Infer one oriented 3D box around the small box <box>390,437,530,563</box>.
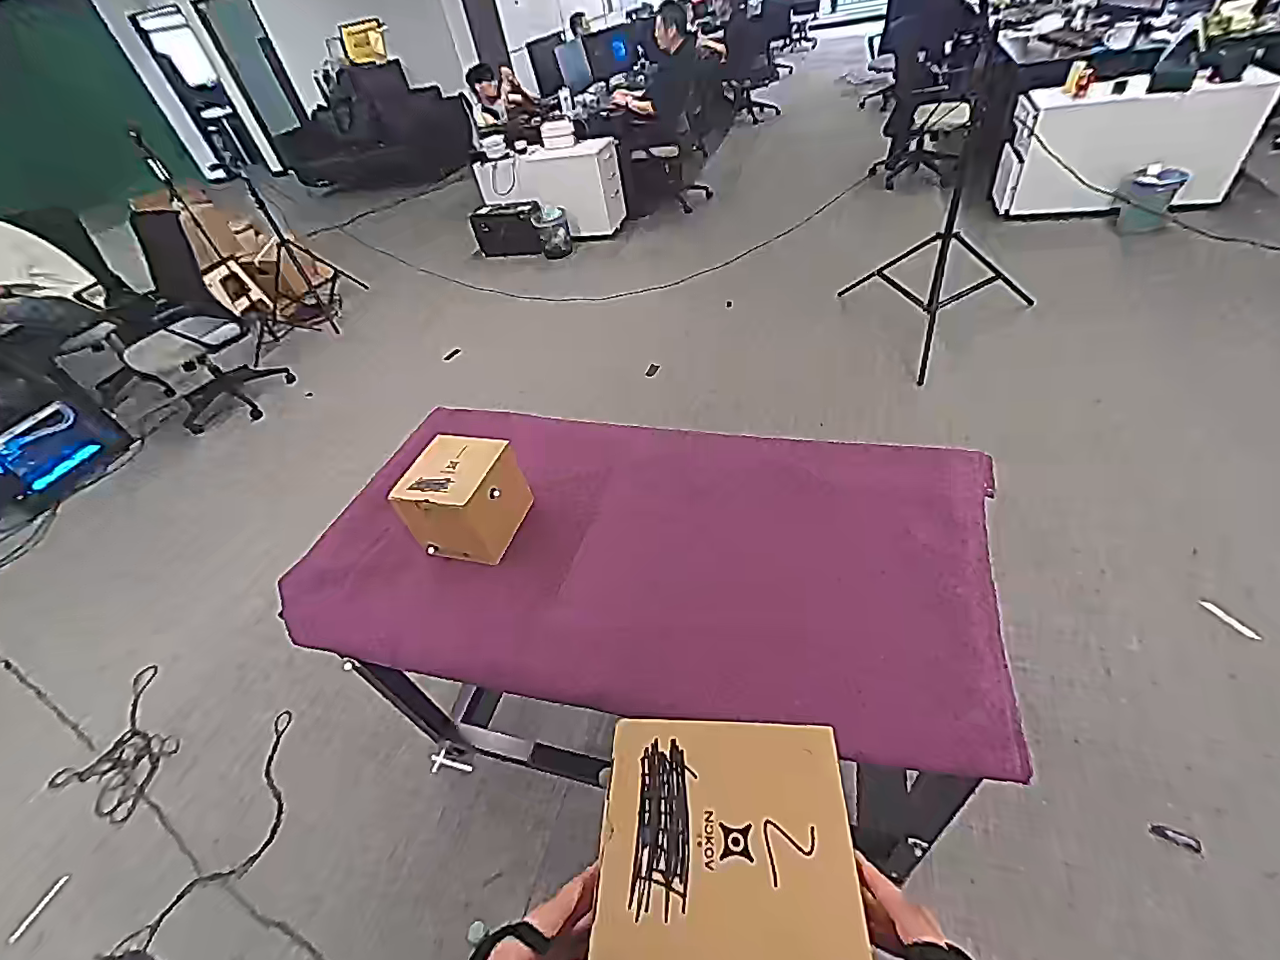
[{"bbox_3d":[-0.334,0.039,1.049,0.168,0.176,0.179,6,46,18],"label":"small box"}]
